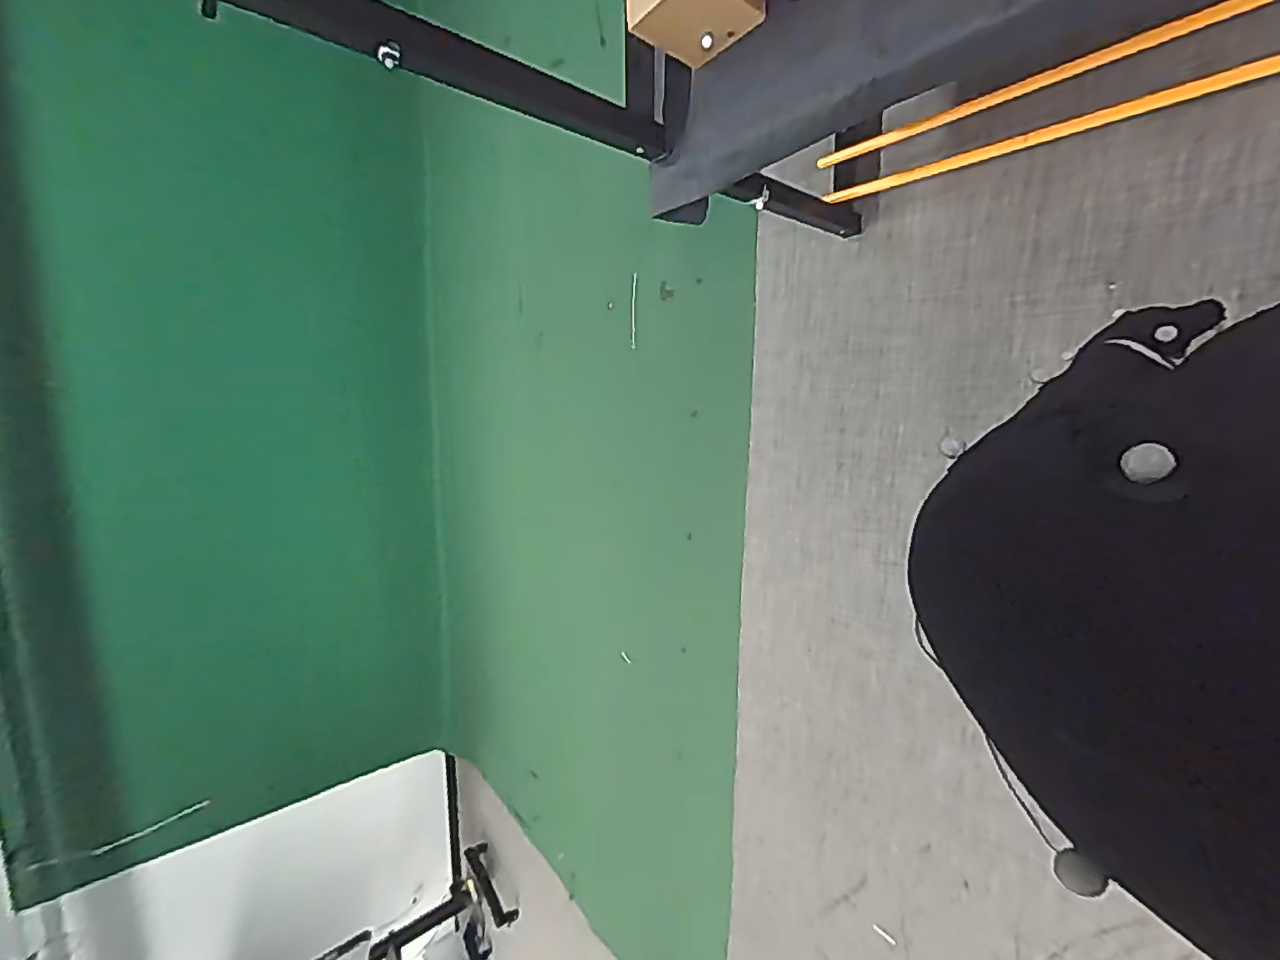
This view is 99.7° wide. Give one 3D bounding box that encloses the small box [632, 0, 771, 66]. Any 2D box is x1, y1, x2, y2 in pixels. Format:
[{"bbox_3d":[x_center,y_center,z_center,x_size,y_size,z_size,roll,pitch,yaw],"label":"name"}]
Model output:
[{"bbox_3d":[0.103,-0.846,0.896,0.168,0.176,0.179,6,100,51],"label":"small box"}]
